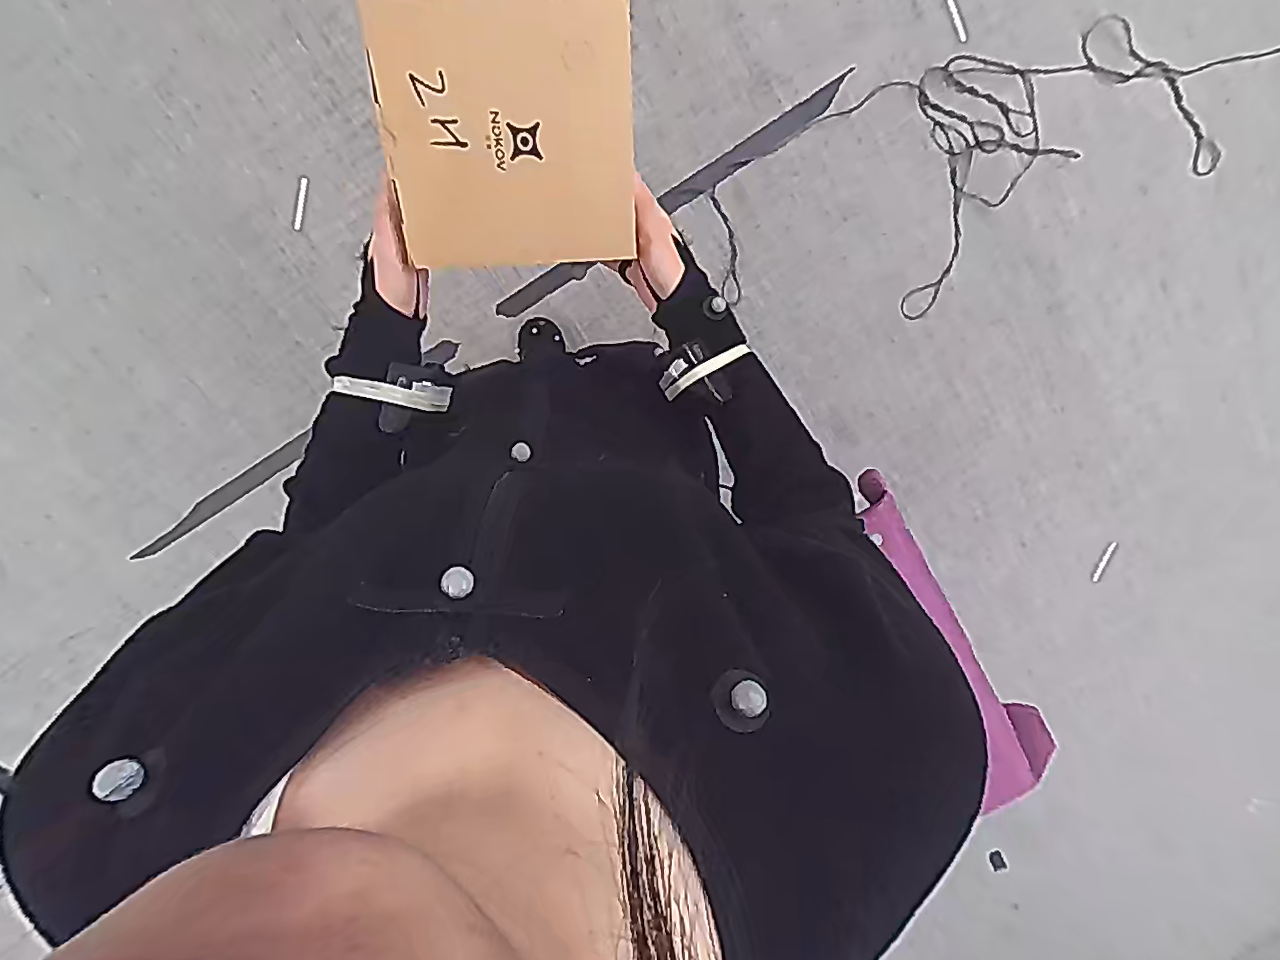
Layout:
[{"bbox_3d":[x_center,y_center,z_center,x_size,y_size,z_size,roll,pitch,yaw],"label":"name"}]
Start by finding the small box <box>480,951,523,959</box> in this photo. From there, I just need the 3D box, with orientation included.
[{"bbox_3d":[-0.199,0.760,0.683,0.168,0.176,0.179,-28,106,2],"label":"small box"}]

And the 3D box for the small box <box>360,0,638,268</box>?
[{"bbox_3d":[-0.102,-0.274,0.451,0.179,0.176,0.168,-5,117,-8],"label":"small box"}]
